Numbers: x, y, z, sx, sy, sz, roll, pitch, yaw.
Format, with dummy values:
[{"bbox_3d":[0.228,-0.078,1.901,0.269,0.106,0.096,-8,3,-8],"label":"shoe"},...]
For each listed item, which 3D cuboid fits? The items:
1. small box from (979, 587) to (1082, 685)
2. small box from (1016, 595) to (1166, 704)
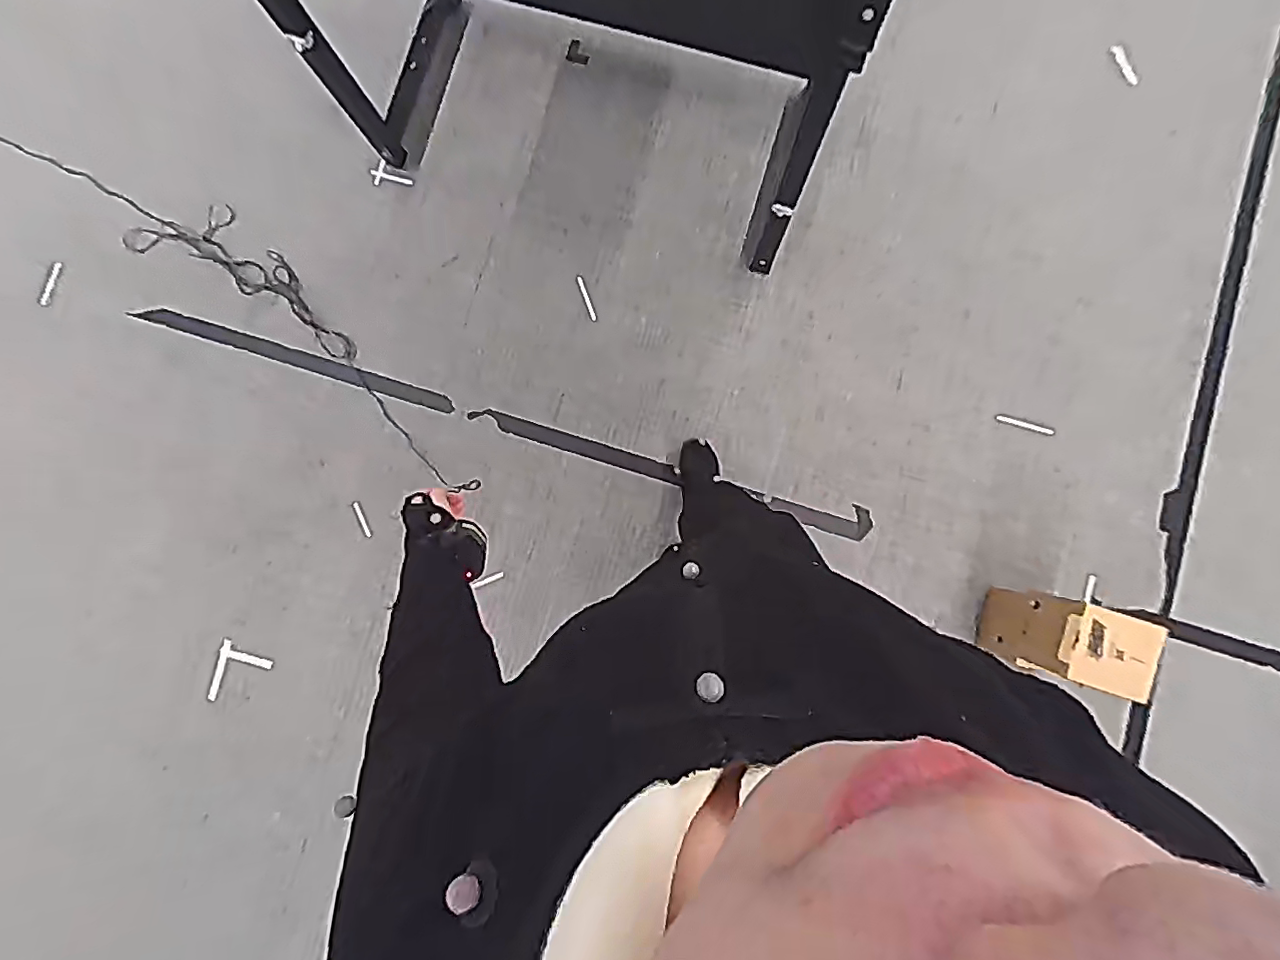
[{"bbox_3d":[0.992,0.384,1.361,0.168,0.176,0.179,15,87,3],"label":"small box"},{"bbox_3d":[0.984,0.364,1.198,0.179,0.176,0.168,18,88,2],"label":"small box"}]
